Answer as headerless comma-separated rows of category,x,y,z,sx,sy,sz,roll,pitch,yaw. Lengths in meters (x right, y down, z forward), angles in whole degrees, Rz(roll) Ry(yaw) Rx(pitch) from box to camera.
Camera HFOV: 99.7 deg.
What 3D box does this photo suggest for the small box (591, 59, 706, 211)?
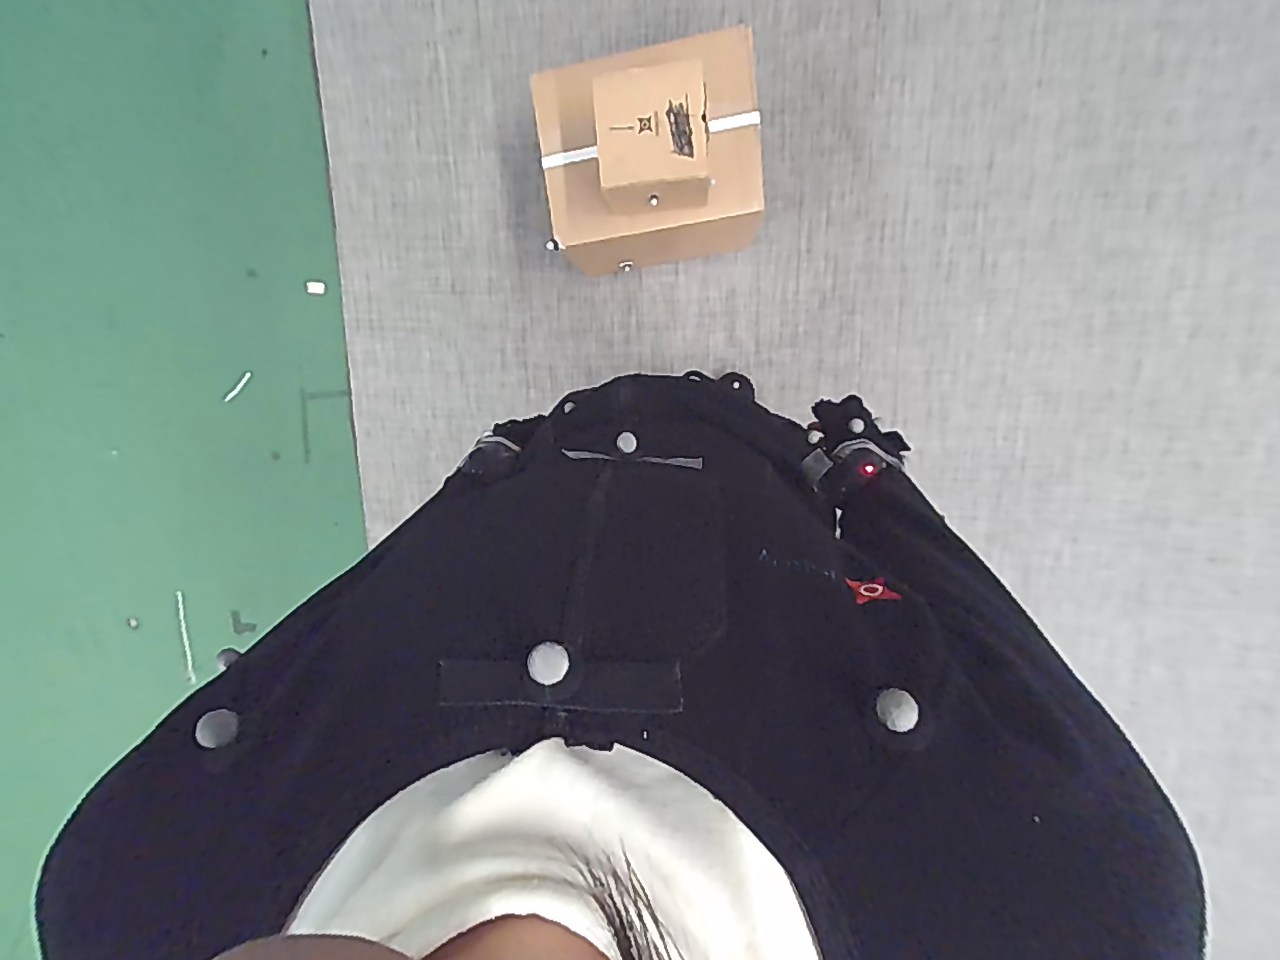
small box,0.022,-0.577,0.928,0.179,0.176,0.168,-2,101,8
